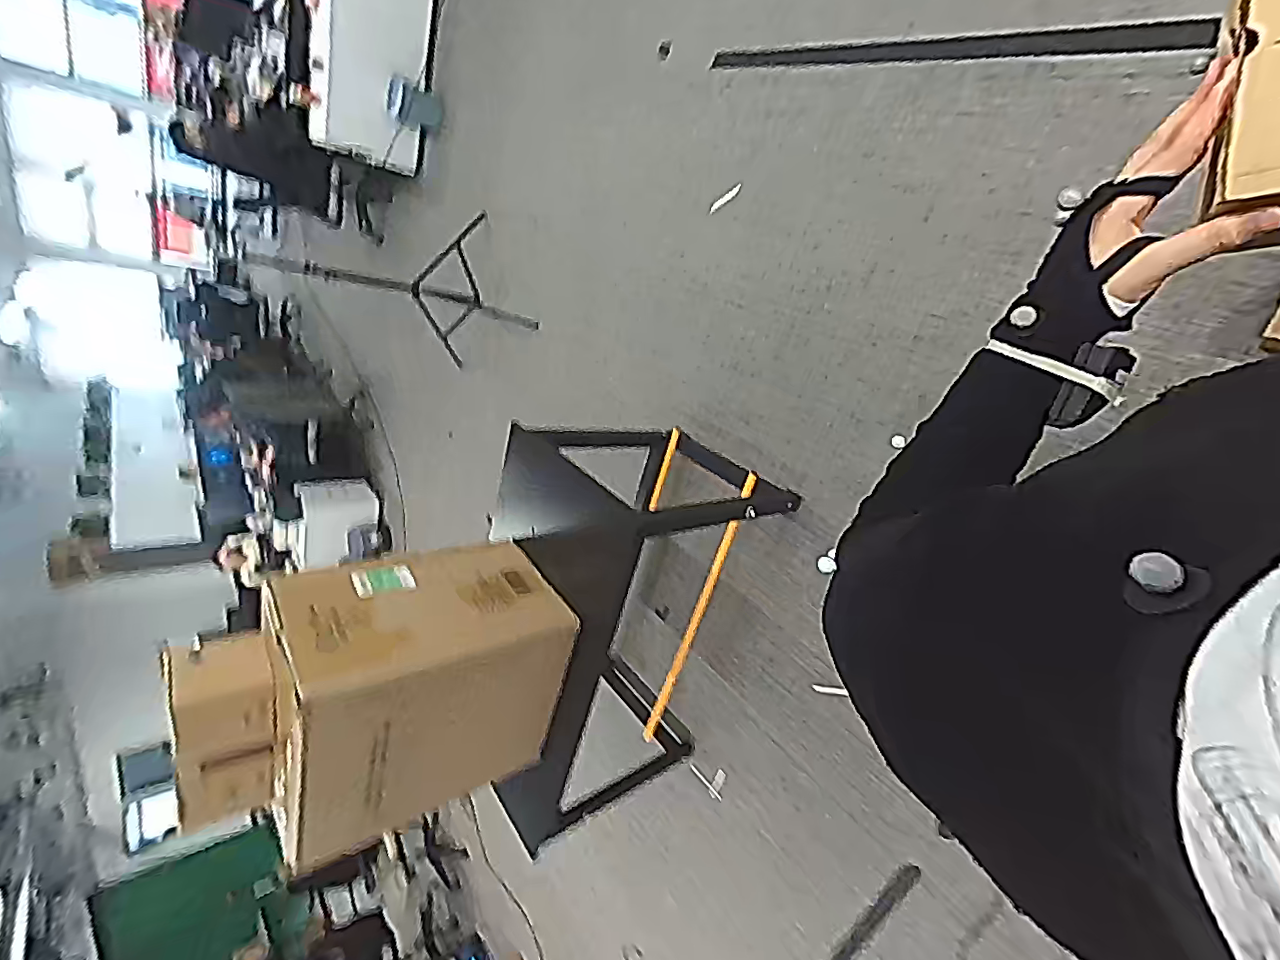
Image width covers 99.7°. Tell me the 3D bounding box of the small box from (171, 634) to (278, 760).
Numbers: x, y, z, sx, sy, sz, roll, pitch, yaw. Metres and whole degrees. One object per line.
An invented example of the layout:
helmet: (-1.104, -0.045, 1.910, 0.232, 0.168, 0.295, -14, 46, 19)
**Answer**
small box: (-0.894, 0.452, 1.164, 0.179, 0.176, 0.168, 36, 119, 42)

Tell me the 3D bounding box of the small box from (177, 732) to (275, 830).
small box: (-0.961, 0.650, 1.254, 0.179, 0.176, 0.168, 33, 115, 42)

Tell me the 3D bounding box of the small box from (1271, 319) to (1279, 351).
small box: (1.164, -0.285, 0.860, 0.168, 0.176, 0.179, 32, 117, 42)

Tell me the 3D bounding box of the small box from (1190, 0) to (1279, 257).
small box: (0.439, -0.235, 0.300, 0.179, 0.176, 0.168, 5, 101, 42)
